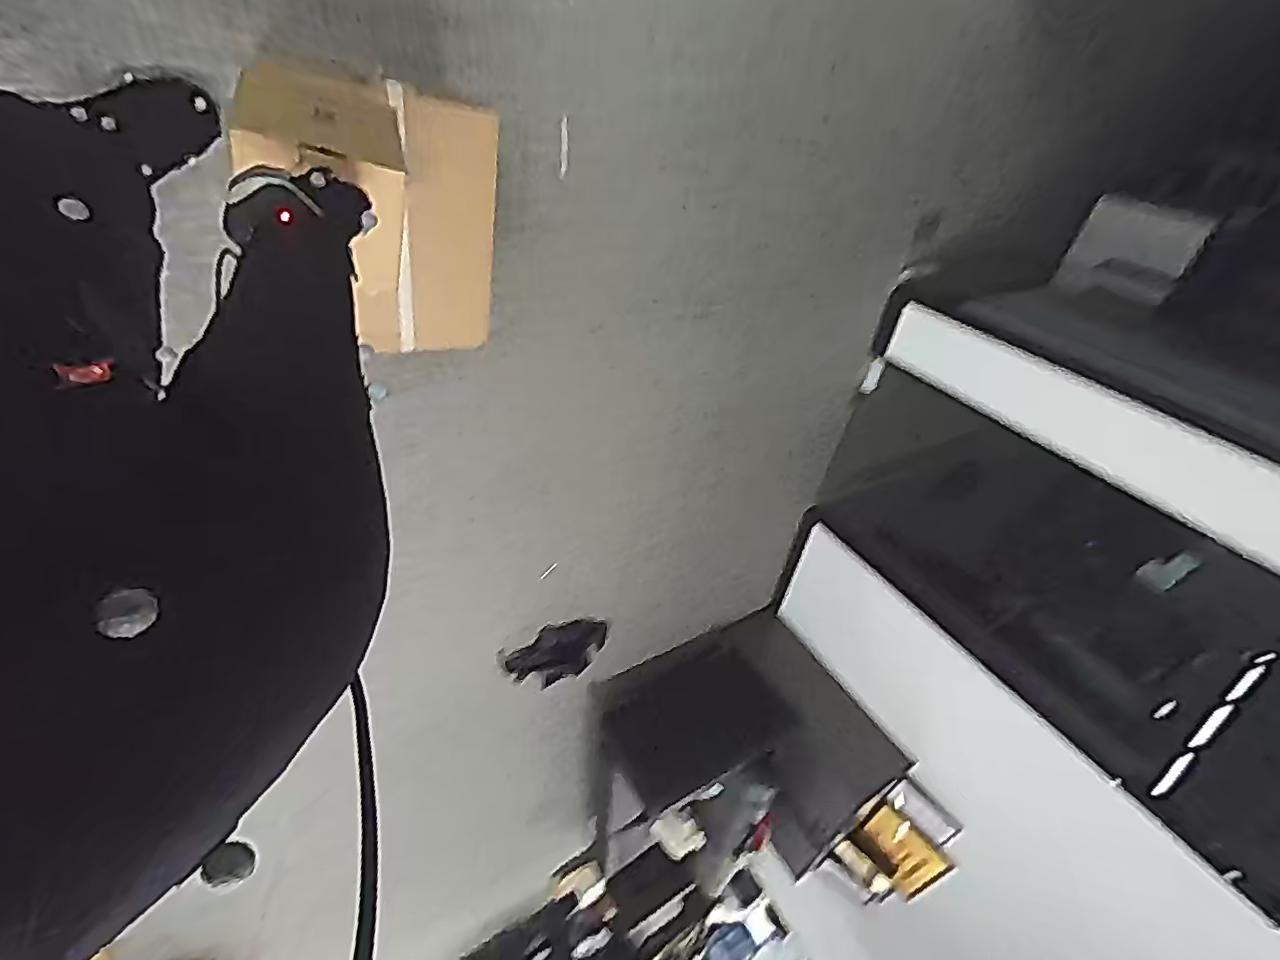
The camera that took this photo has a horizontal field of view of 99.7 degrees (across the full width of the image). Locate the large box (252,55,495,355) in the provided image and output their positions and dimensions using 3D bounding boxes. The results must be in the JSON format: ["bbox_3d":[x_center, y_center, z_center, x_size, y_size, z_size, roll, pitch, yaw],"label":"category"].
[{"bbox_3d":[-0.475,-0.487,0.991,0.320,0.320,0.408,-11,133,-32],"label":"large box"}]
